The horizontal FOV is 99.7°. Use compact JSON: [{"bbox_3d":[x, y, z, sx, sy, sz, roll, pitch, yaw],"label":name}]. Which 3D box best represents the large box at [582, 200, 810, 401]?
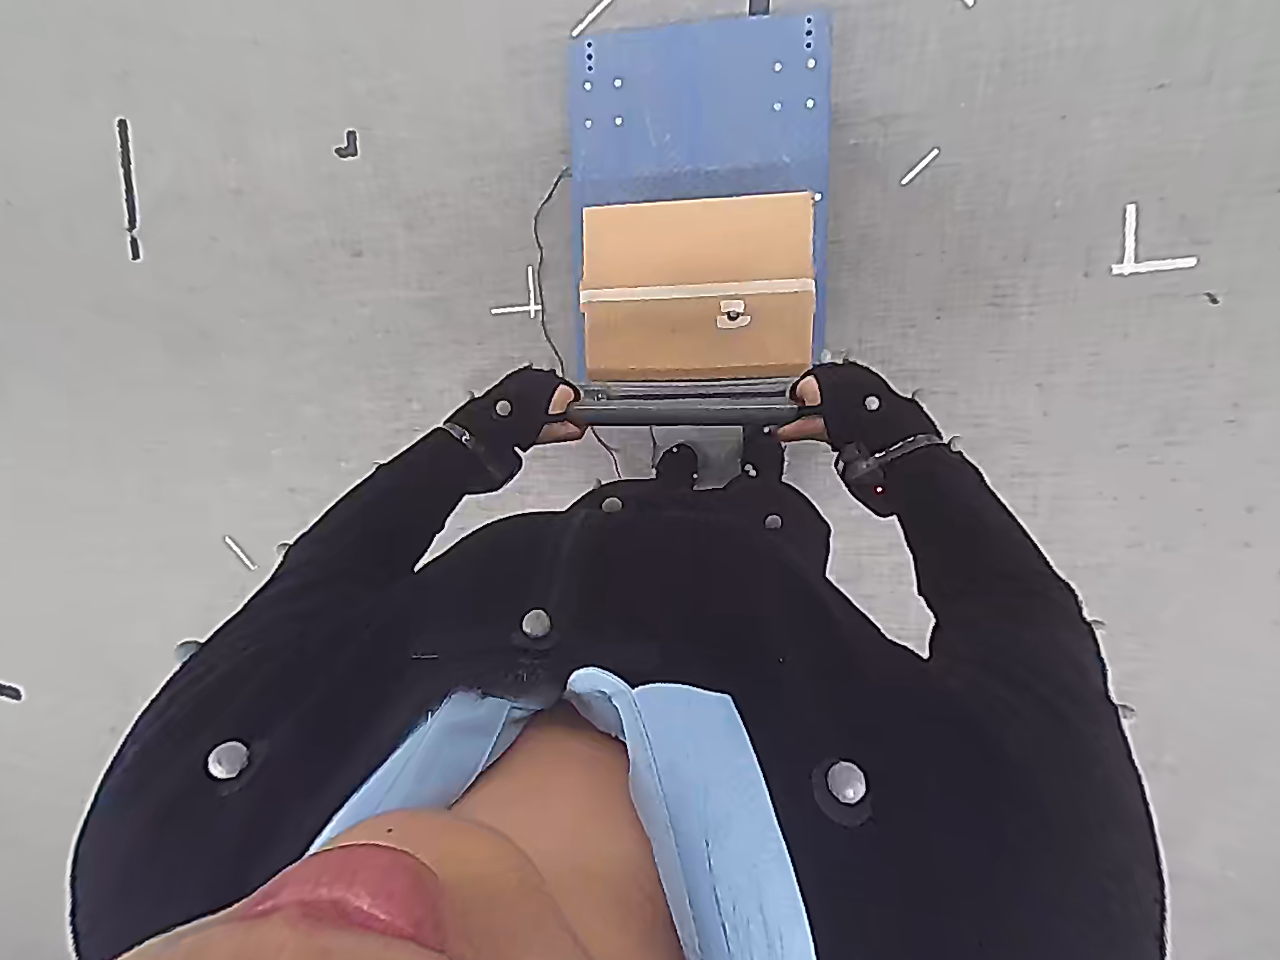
[{"bbox_3d":[0.113,-0.333,1.102,0.408,0.320,0.320,0,96,7],"label":"large box"}]
